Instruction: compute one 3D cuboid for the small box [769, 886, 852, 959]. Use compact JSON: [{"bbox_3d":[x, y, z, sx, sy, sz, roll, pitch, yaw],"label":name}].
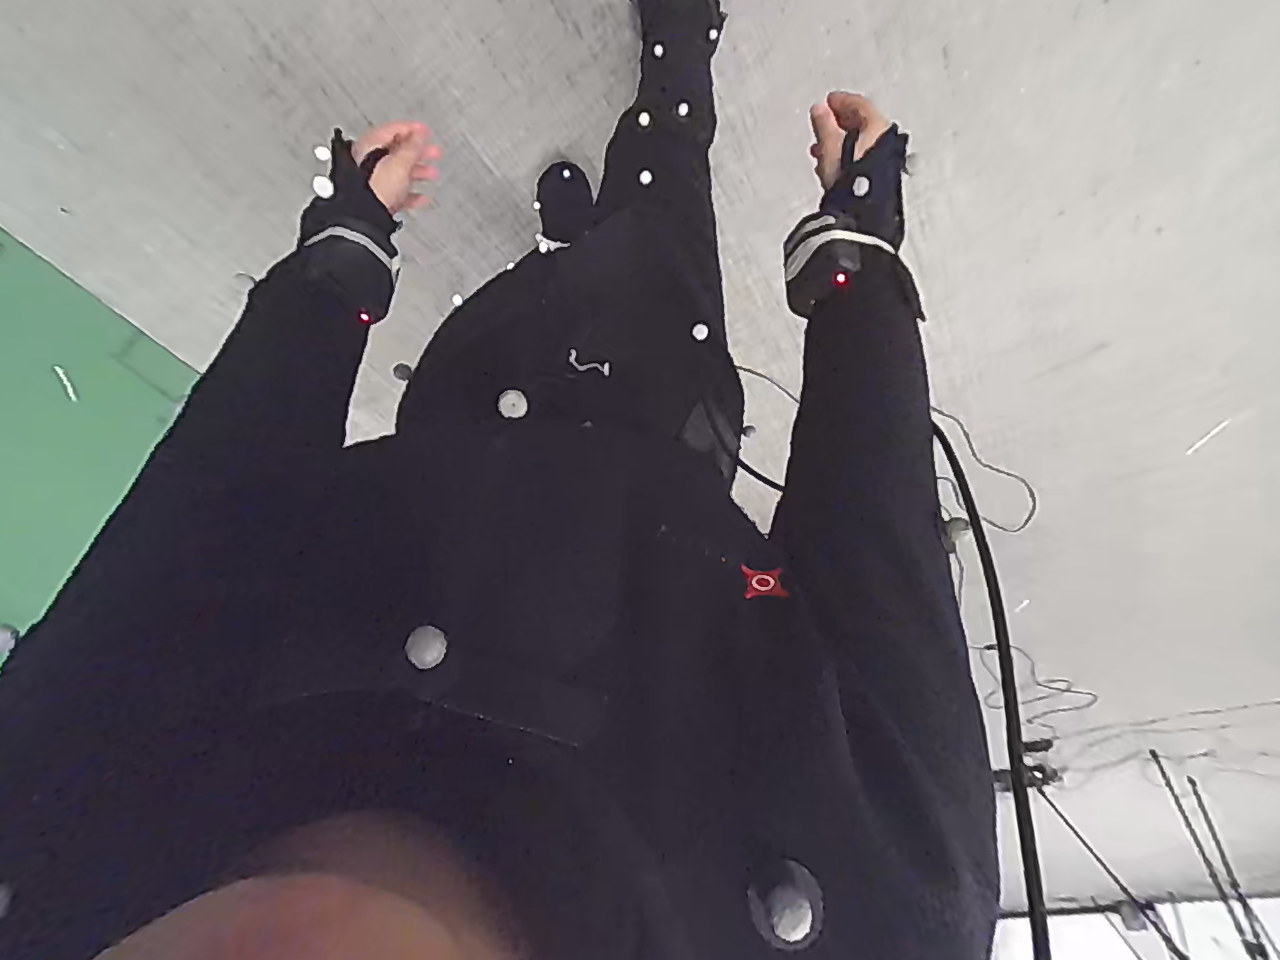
[{"bbox_3d":[0.475,1.263,1.517,0.179,0.176,0.168,-25,130,23],"label":"small box"}]
